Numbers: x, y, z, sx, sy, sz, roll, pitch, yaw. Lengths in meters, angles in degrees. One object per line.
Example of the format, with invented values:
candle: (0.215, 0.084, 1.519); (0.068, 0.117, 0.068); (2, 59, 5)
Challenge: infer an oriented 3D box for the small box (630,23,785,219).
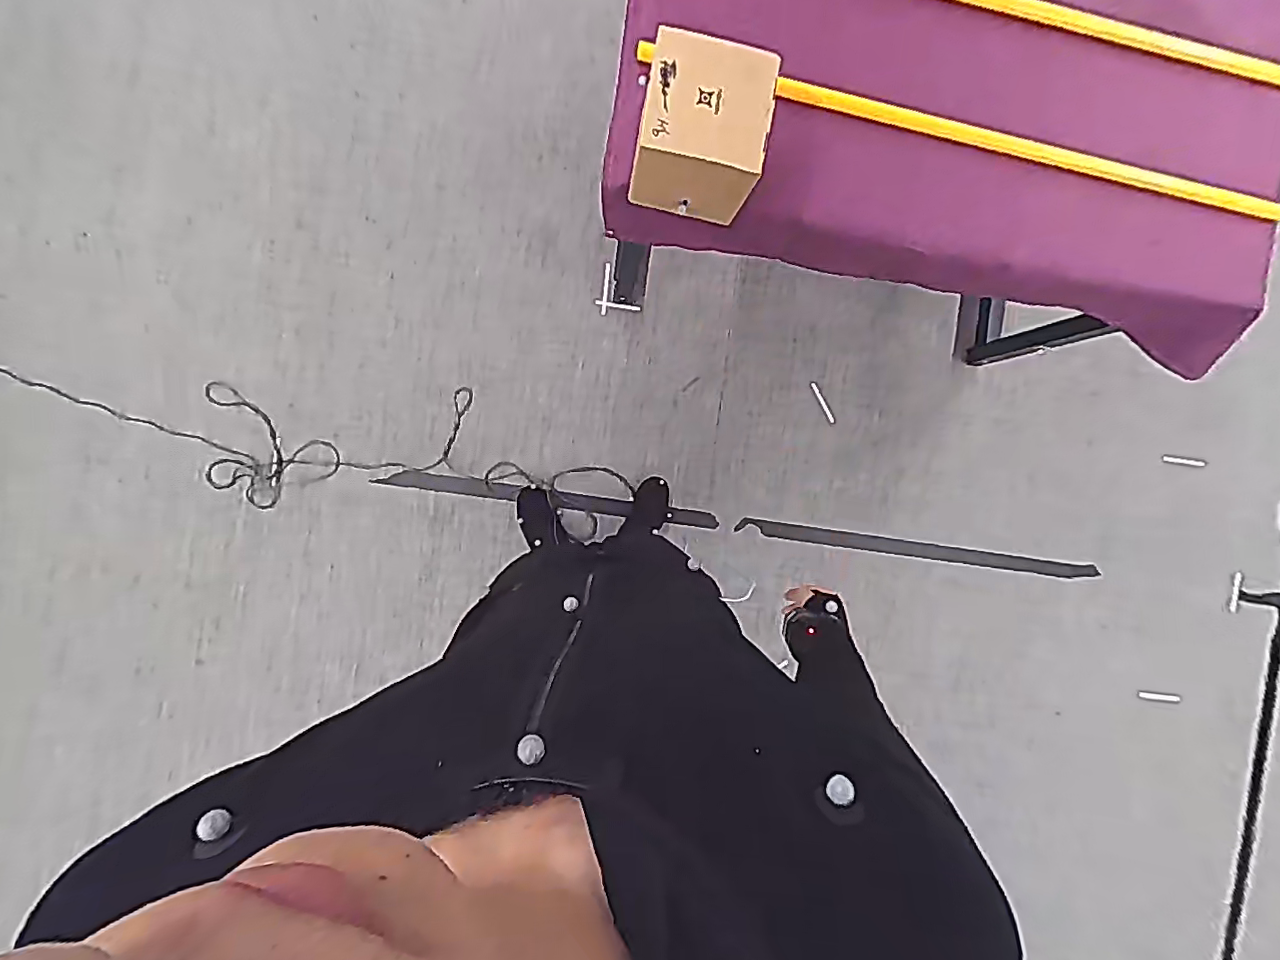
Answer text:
small box: (0.091, -0.519, 0.812); (0.179, 0.176, 0.168); (10, 91, -7)
